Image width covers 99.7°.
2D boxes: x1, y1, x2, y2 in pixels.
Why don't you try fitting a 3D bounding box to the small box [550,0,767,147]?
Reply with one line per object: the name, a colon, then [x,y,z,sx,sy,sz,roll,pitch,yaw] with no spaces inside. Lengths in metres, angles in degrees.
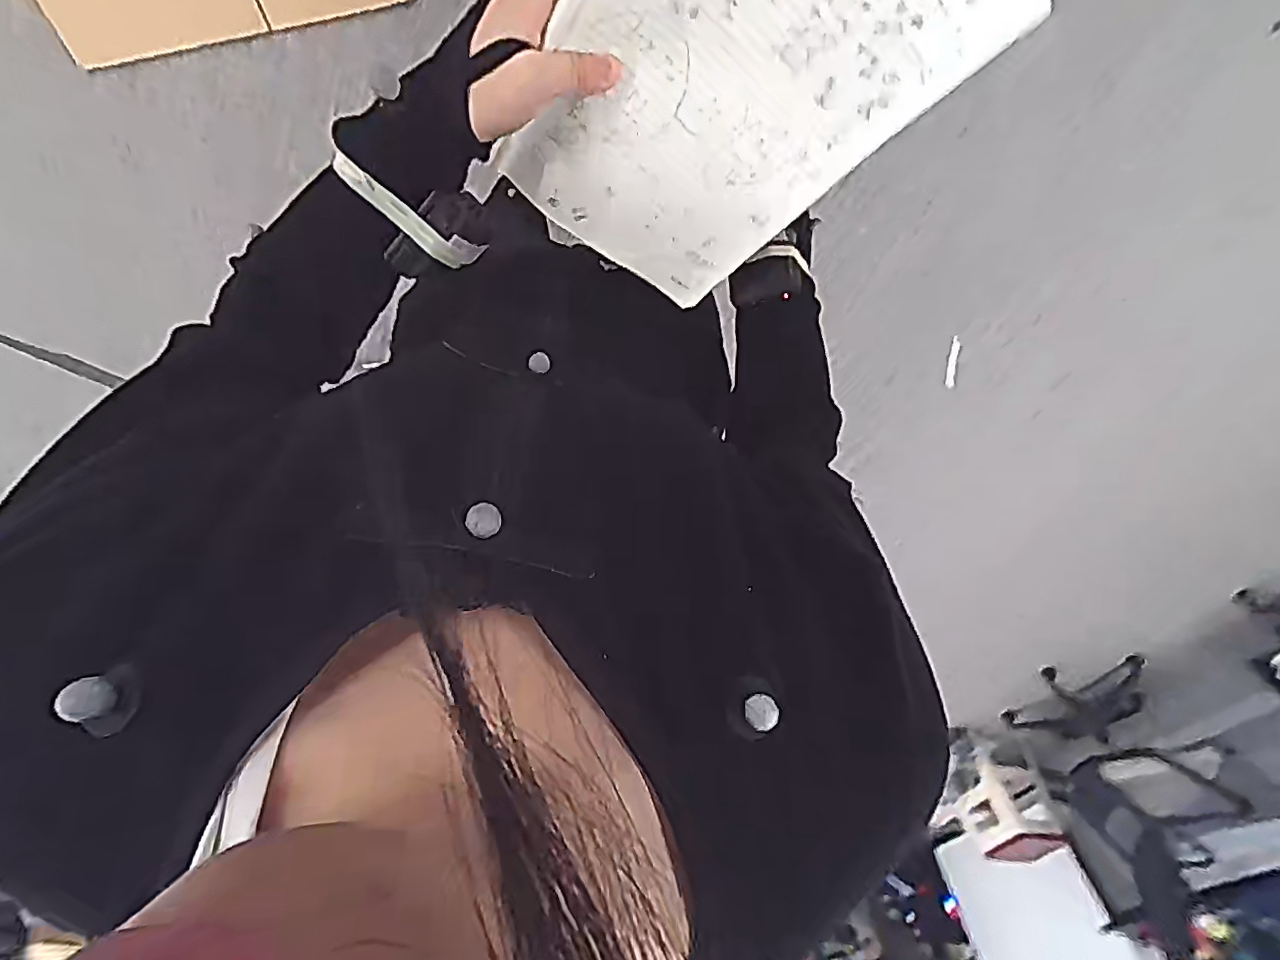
small box: [0.018,-0.536,0.639,0.179,0.176,0.168,30,120,-22]
